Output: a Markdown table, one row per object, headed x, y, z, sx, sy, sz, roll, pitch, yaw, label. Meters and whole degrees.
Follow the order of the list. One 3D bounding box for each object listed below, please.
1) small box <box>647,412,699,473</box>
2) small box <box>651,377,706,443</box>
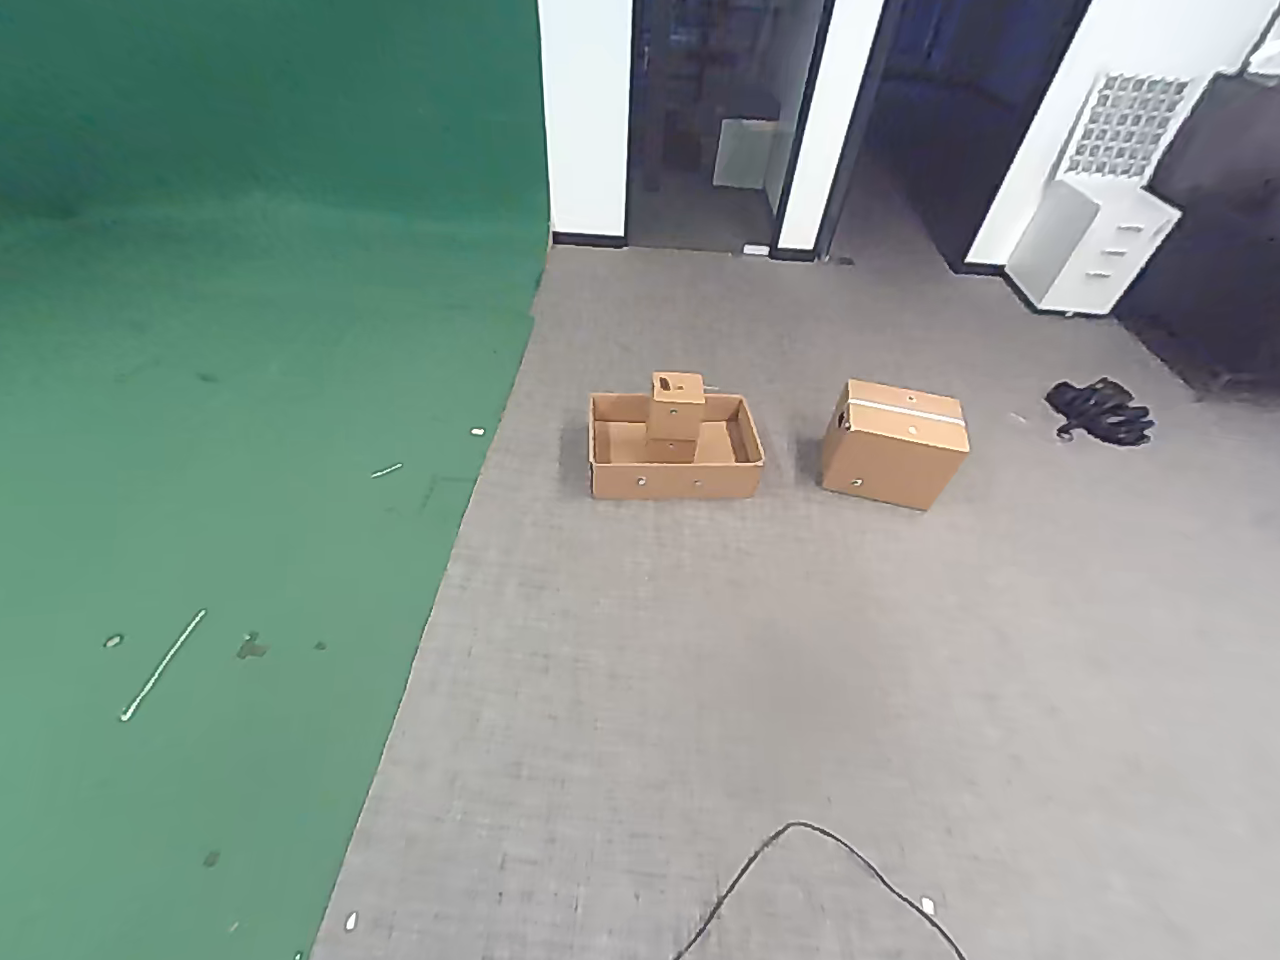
| x | y | z | sx | sy | sz | roll | pitch | yaw | label |
| --- | --- | --- | --- | --- | --- | --- | --- | --- | --- |
| 0.118 | -0.140 | 2.039 | 0.179 | 0.176 | 0.168 | 2 | 46 | -5 | small box |
| 0.130 | -0.245 | 1.912 | 0.179 | 0.176 | 0.168 | 3 | 46 | -3 | small box |
